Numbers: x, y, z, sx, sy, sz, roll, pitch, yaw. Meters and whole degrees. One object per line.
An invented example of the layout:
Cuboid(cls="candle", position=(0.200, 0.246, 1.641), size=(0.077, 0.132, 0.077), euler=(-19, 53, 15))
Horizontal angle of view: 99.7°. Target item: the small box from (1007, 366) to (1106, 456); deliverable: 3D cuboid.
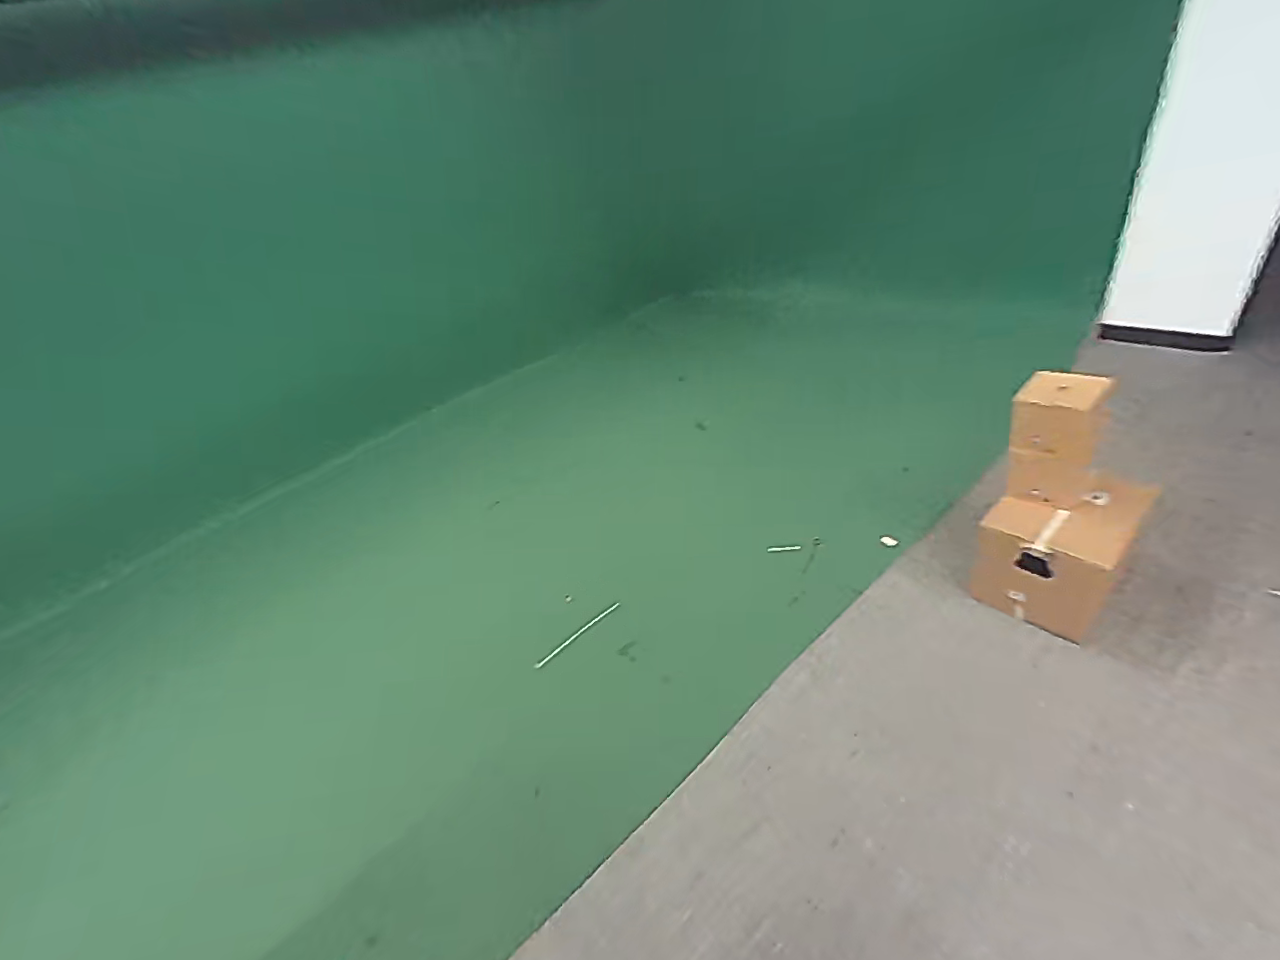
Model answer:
Cuboid(cls="small box", position=(1.147, -0.193, 1.499), size=(0.179, 0.176, 0.168), euler=(-37, 37, -25))

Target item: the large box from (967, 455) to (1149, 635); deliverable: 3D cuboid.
Cuboid(cls="large box", position=(1.256, 0.184, 1.648), size=(0.408, 0.320, 0.320), euler=(-35, 39, -26))
